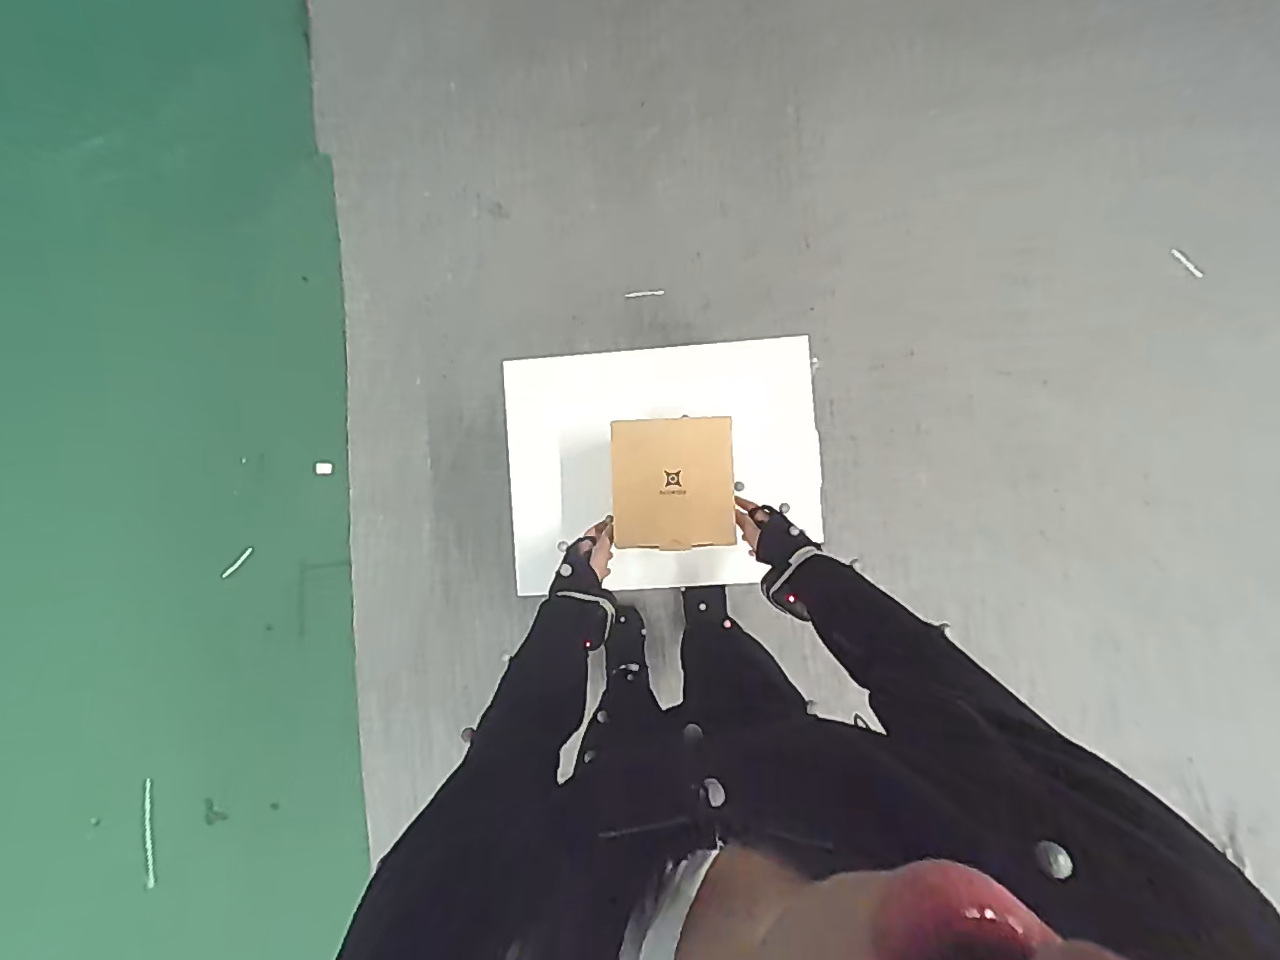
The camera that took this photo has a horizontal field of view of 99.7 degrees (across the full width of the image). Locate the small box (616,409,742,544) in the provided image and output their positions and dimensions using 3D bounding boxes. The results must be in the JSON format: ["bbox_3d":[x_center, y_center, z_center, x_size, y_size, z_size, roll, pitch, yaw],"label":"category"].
[{"bbox_3d":[0.054,-0.001,0.795,0.168,0.176,0.179,-3,89,4],"label":"small box"}]
